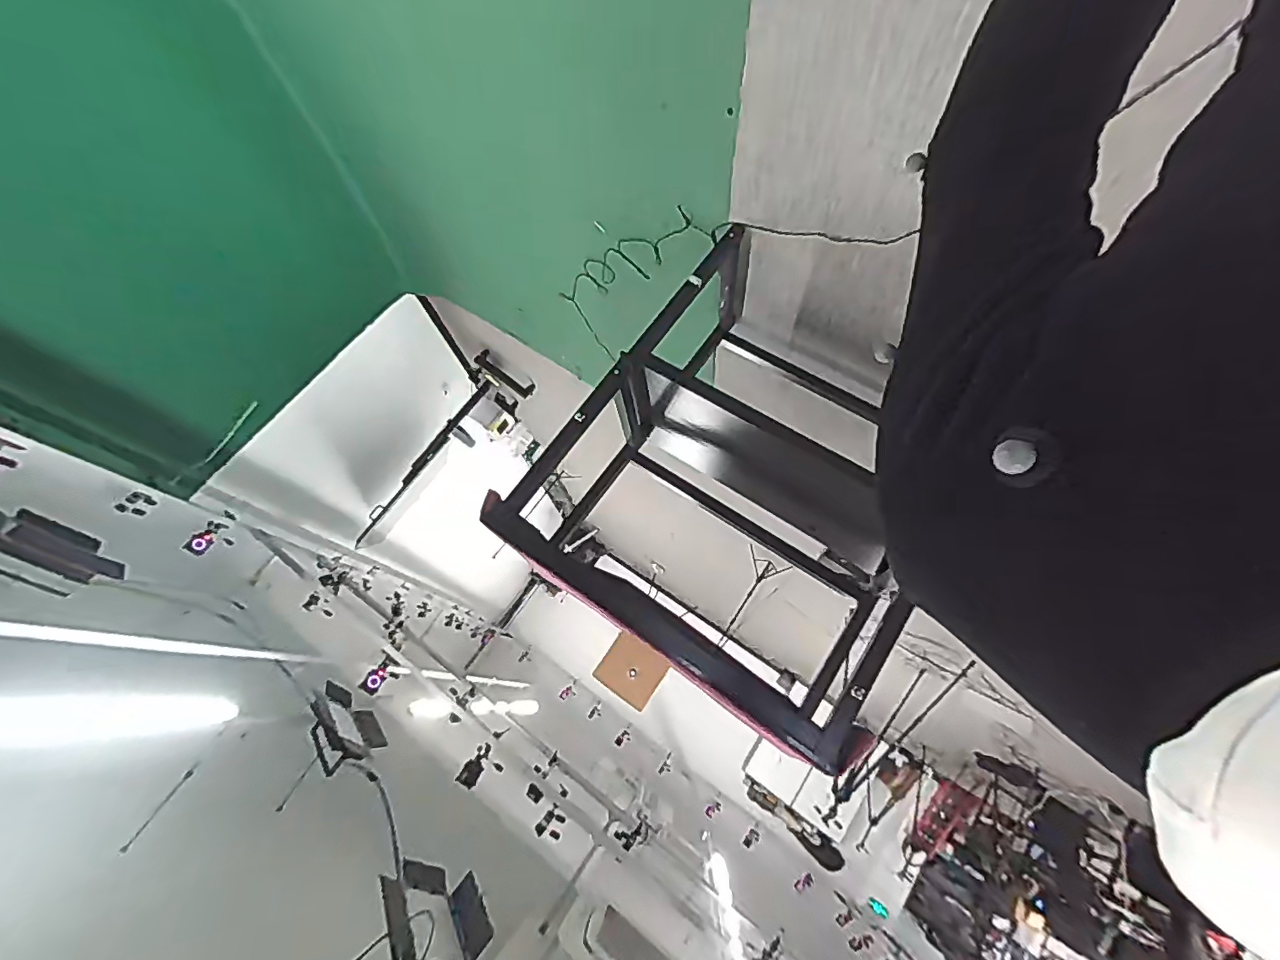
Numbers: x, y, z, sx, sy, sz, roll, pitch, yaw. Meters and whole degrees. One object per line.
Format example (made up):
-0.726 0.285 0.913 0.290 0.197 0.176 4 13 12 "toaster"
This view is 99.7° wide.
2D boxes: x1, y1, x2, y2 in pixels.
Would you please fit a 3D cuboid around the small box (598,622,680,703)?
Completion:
-0.001 0.537 1.614 0.179 0.176 0.168 33 165 12 "small box"
